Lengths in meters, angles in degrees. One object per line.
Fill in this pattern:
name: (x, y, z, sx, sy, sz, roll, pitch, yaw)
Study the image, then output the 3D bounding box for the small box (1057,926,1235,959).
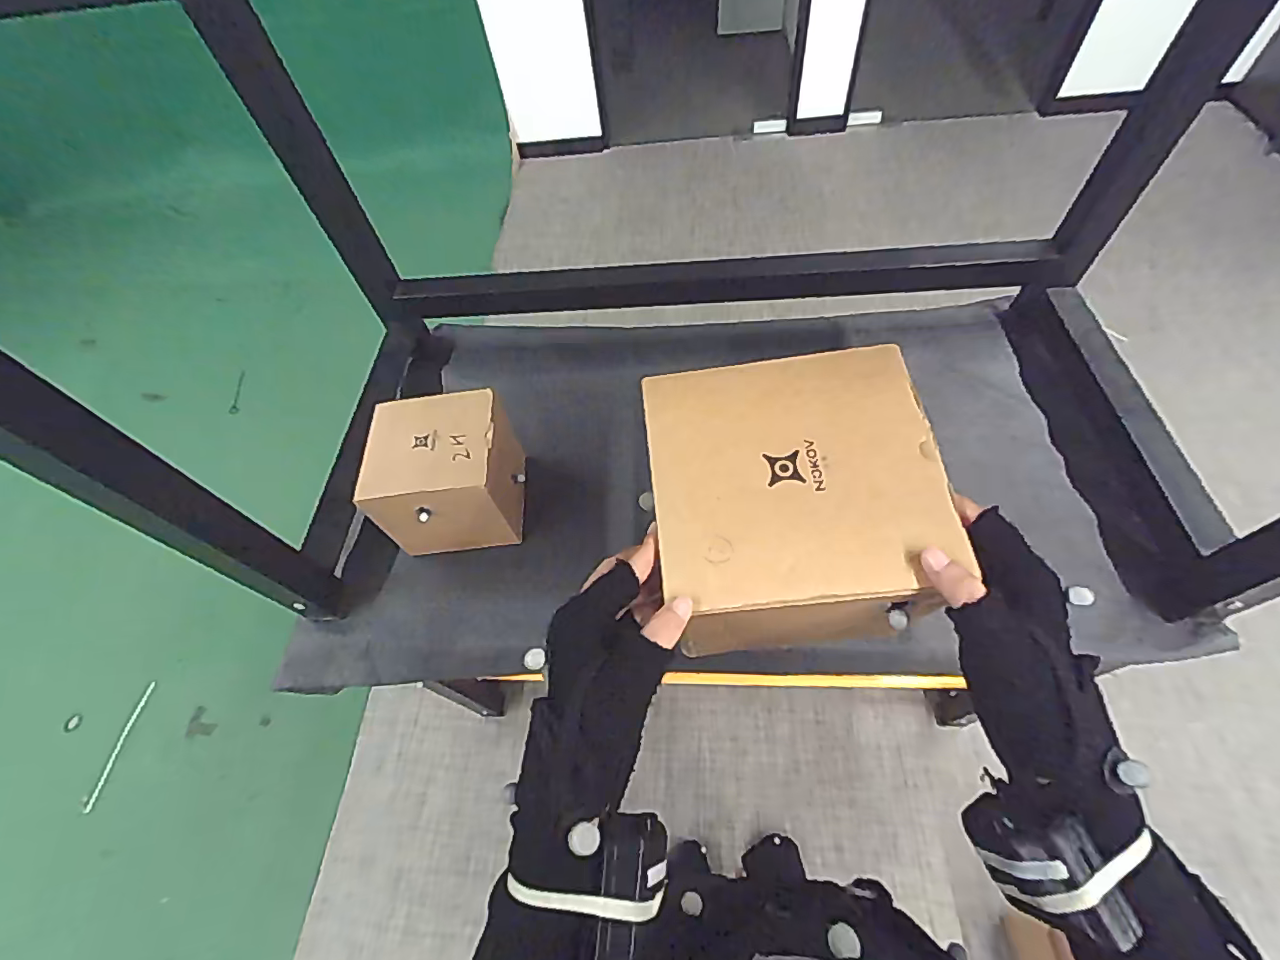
small box: (0.791, 0.802, 0.821, 0.168, 0.176, 0.179, -4, 56, 5)

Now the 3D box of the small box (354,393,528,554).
small box: (-0.276, -0.002, 0.792, 0.179, 0.176, 0.168, -6, 57, 2)
